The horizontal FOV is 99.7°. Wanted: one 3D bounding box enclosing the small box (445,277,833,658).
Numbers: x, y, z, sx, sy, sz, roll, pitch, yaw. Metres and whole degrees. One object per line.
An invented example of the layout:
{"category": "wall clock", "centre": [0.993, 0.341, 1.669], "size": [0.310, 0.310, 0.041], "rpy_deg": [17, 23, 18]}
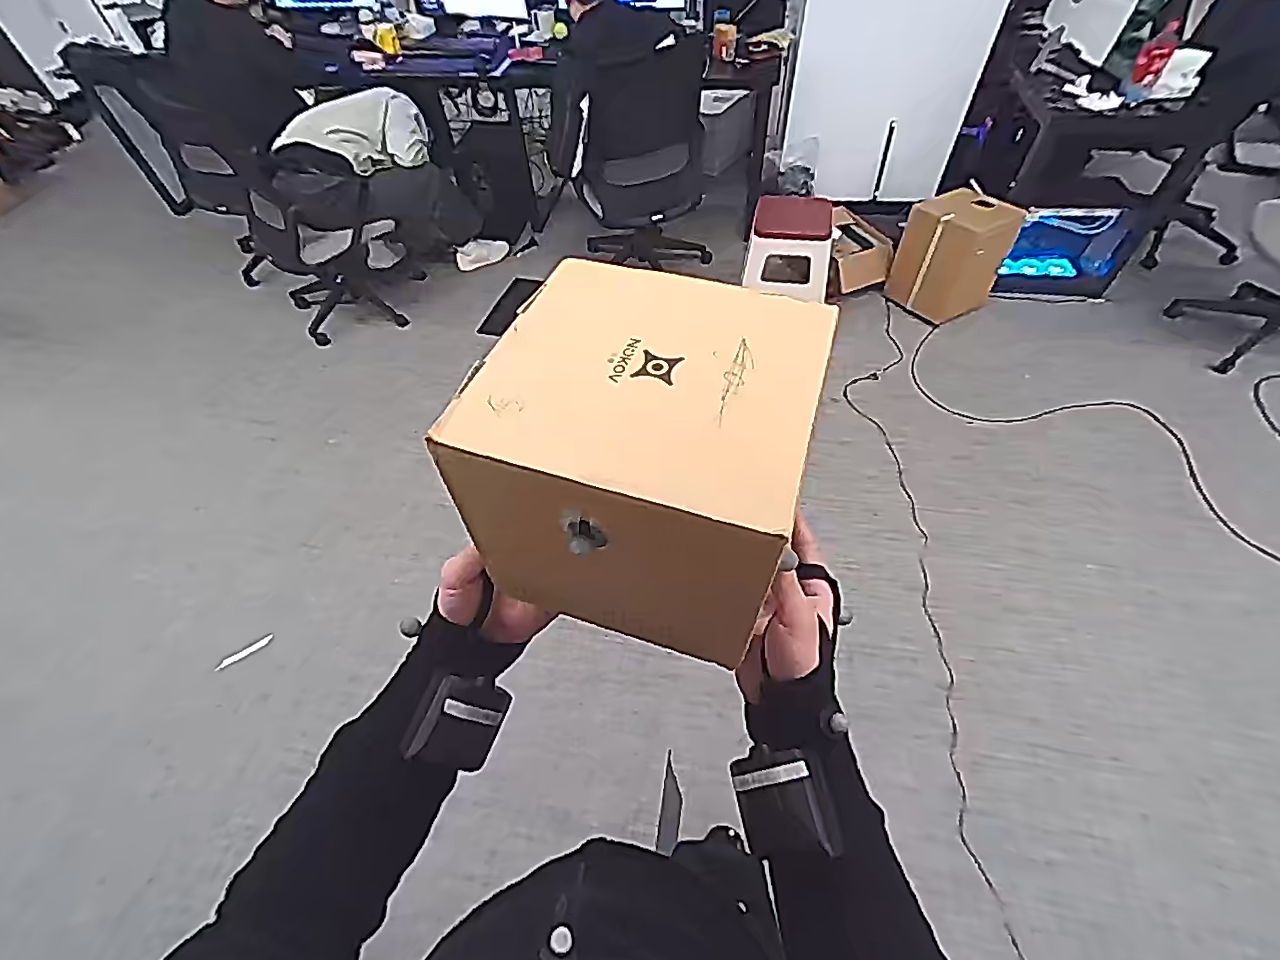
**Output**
{"category": "small box", "centre": [0.009, -0.004, 0.359], "size": [0.179, 0.176, 0.168], "rpy_deg": [15, 54, 11]}
